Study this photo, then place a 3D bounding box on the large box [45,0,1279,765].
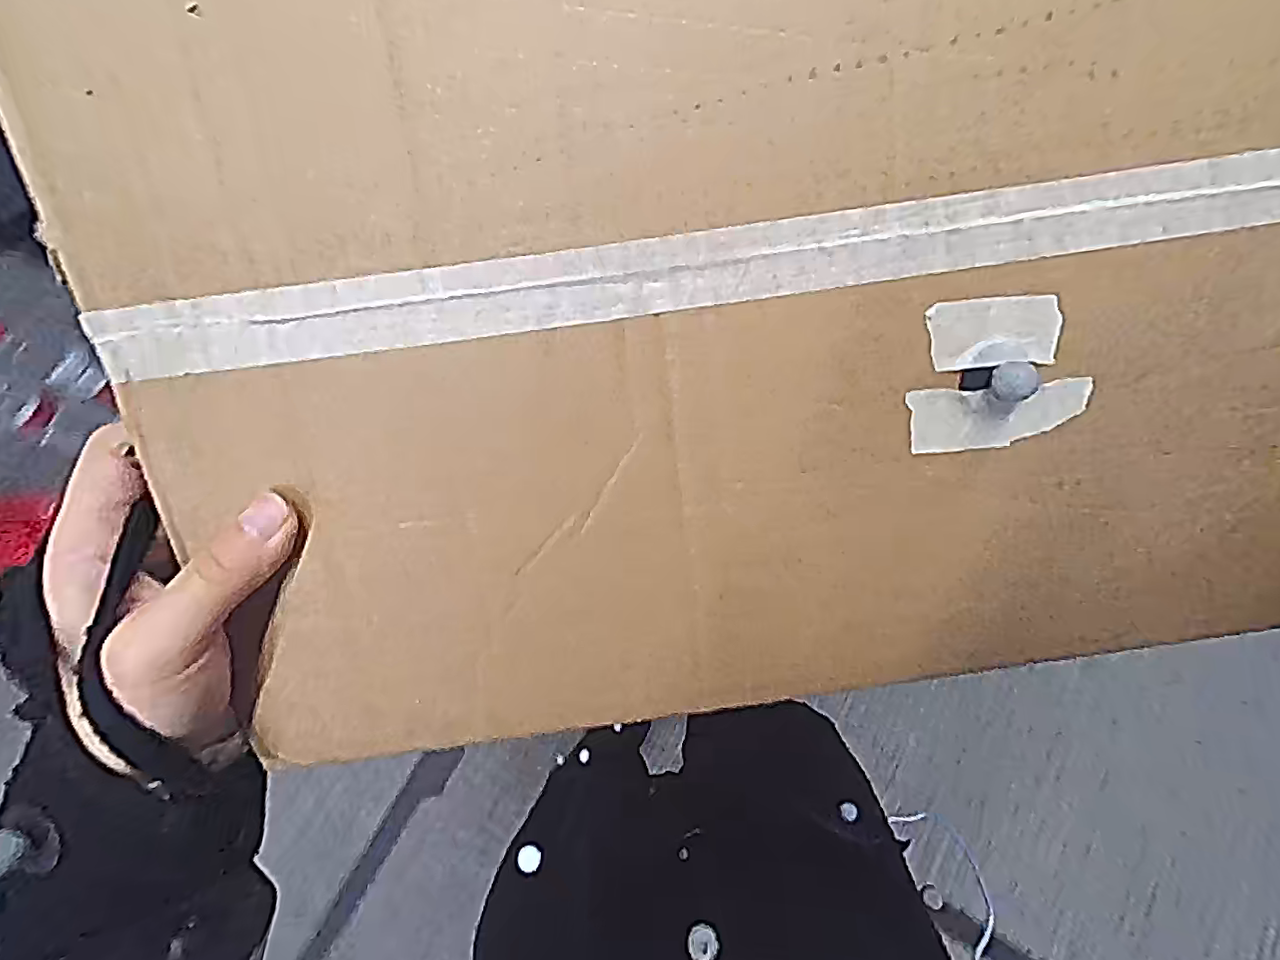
[{"bbox_3d":[0.038,-0.100,0.317,0.408,0.320,0.320,-7,105,-1],"label":"large box"}]
